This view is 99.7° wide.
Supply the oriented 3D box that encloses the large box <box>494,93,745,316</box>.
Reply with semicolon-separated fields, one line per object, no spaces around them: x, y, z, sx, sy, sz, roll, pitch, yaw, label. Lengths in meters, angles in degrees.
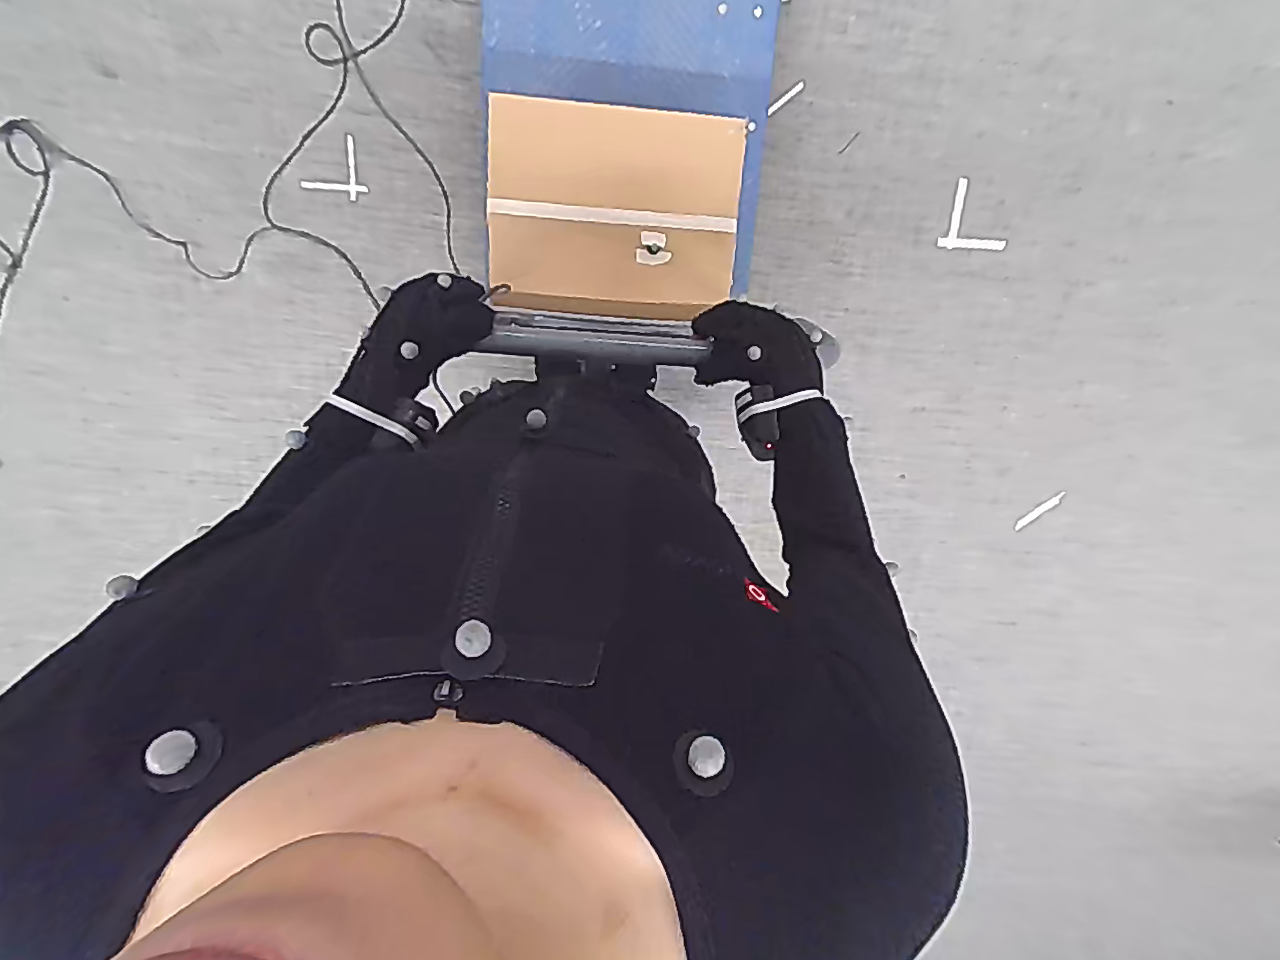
-0.047;-0.488;1.035;0.408;0.320;0.320;2;107;-5;large box
